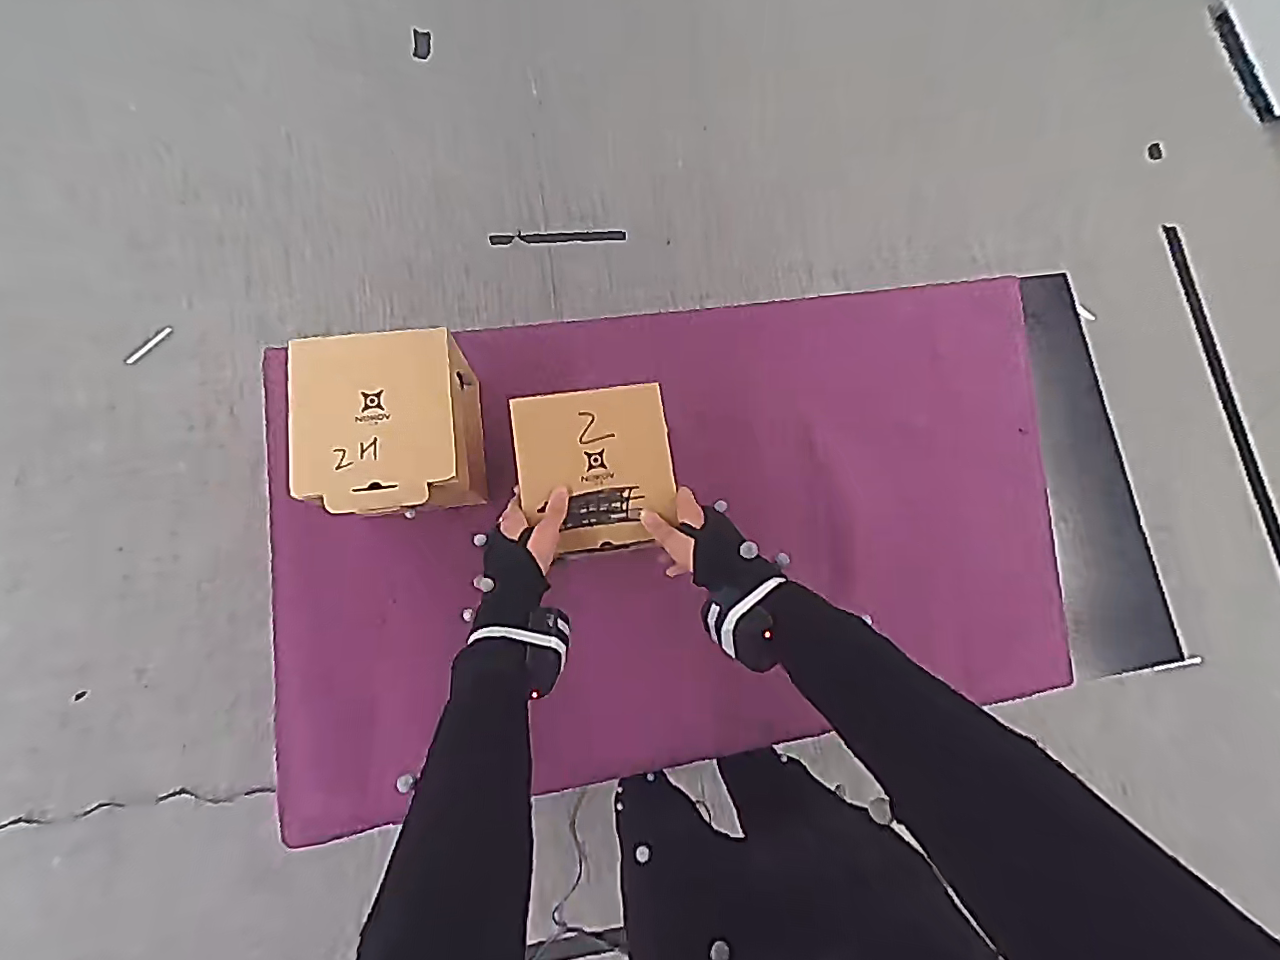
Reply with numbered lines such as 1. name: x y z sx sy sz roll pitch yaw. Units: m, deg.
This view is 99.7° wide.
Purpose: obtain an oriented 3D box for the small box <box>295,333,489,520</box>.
1. small box: -0.283 -0.055 0.648 0.168 0.176 0.179 -6 80 -6
